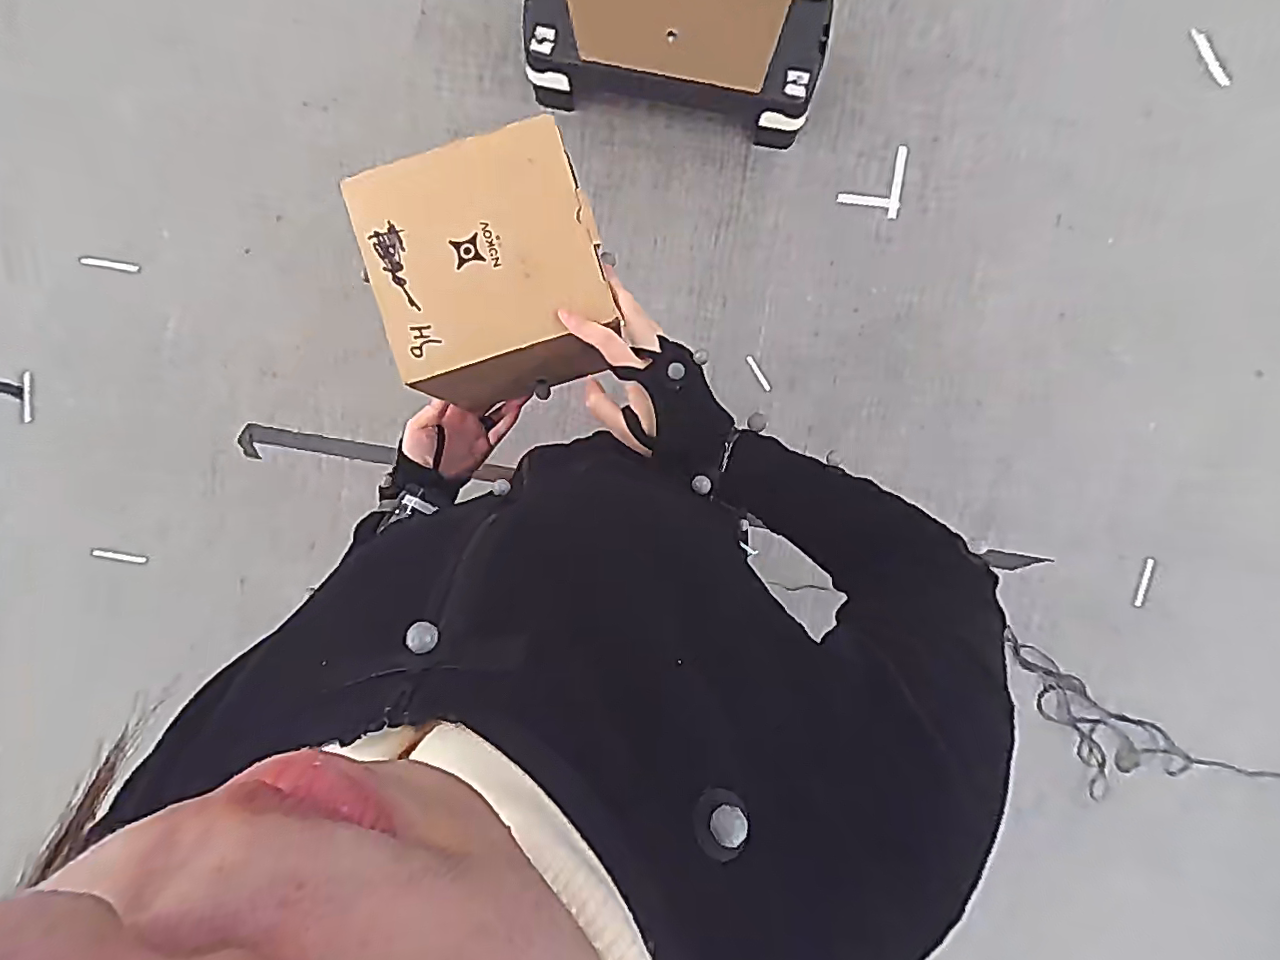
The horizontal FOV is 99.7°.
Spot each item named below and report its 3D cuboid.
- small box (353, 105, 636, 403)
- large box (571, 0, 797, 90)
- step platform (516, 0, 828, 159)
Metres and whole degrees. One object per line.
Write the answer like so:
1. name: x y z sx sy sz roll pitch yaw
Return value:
1. small box: -0.109 -0.178 0.480 0.179 0.176 0.168 -17 89 -1
2. large box: 0.096 -0.996 1.006 0.408 0.320 0.320 10 97 1
3. step platform: 0.069 -1.007 1.246 0.684 0.204 0.286 15 98 0
